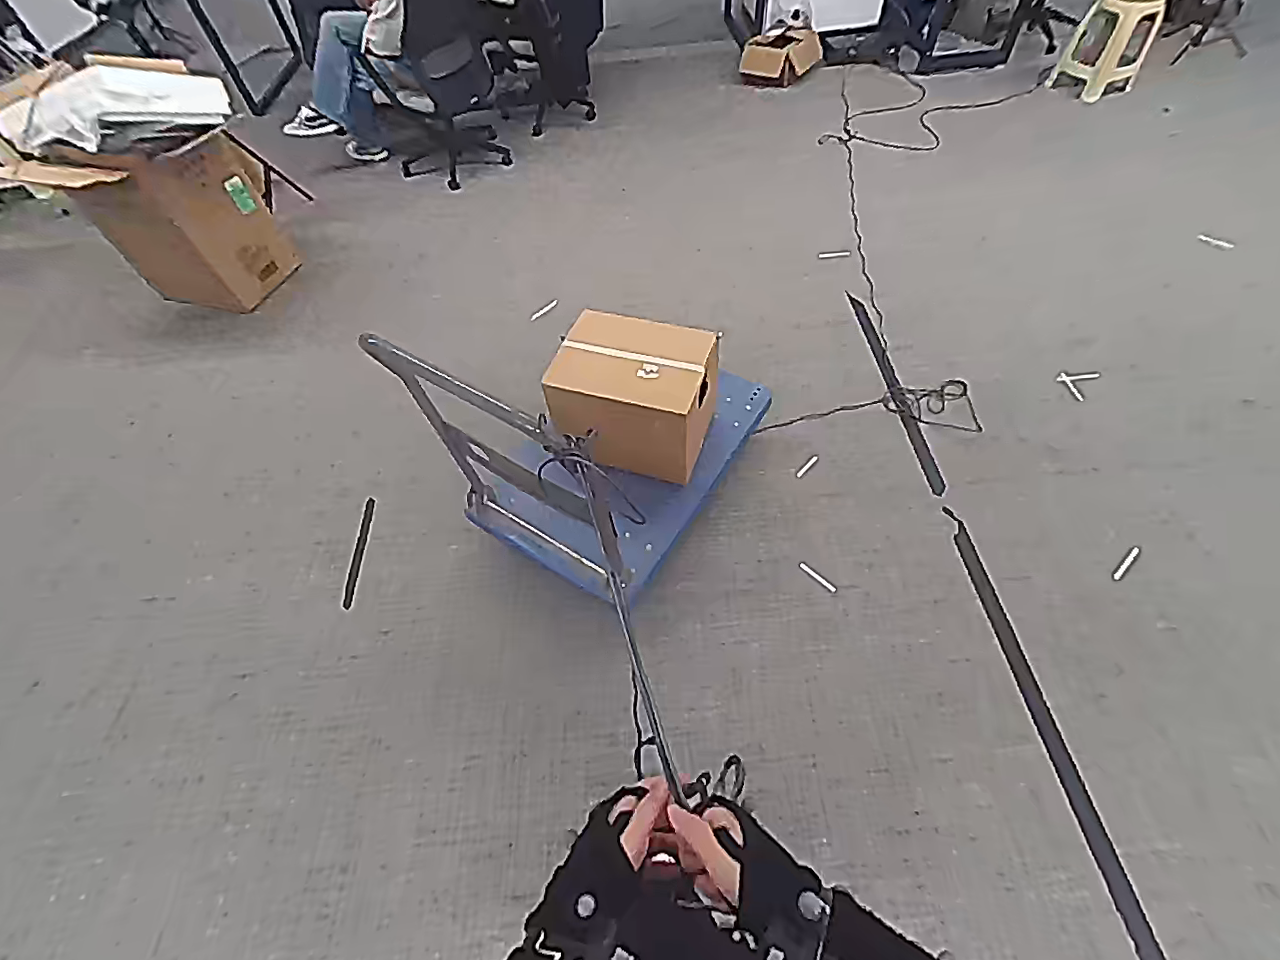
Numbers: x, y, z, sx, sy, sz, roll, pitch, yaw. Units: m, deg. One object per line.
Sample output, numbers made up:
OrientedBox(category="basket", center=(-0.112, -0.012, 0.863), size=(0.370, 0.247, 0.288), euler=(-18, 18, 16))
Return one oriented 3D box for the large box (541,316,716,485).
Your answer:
OrientedBox(category="large box", center=(-0.019, -0.227, 1.559), size=(0.408, 0.320, 0.320), euler=(14, 58, 13))
